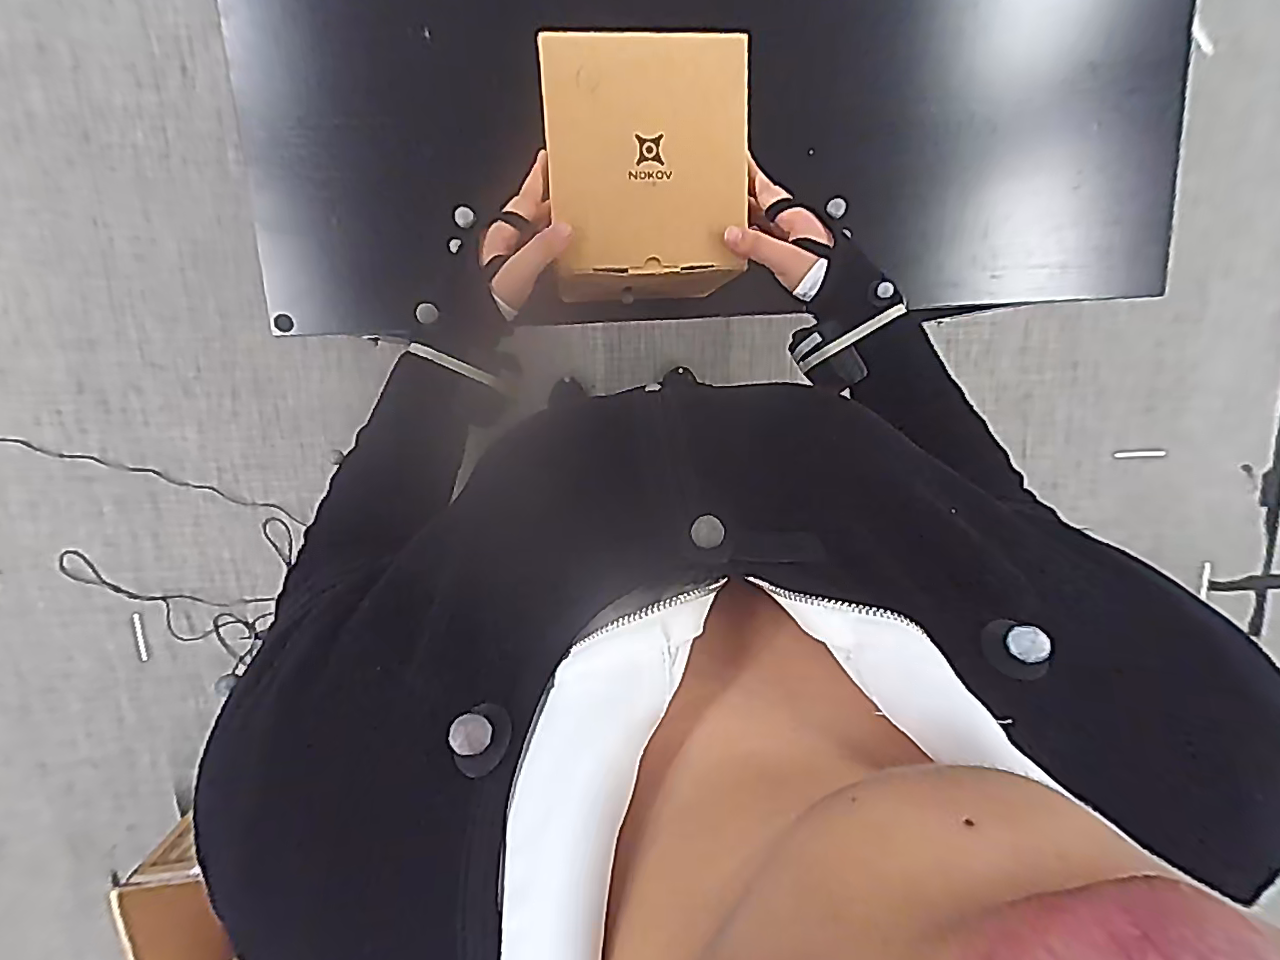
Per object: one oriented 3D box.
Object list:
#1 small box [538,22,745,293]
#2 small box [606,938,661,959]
[{"bbox_3d":[-0.005,-0.282,0.512,0.168,0.176,0.179,-4,102,-5],"label":"small box"},{"bbox_3d":[-0.019,1.542,1.645,0.168,0.176,0.179,1,98,-5],"label":"small box"}]
